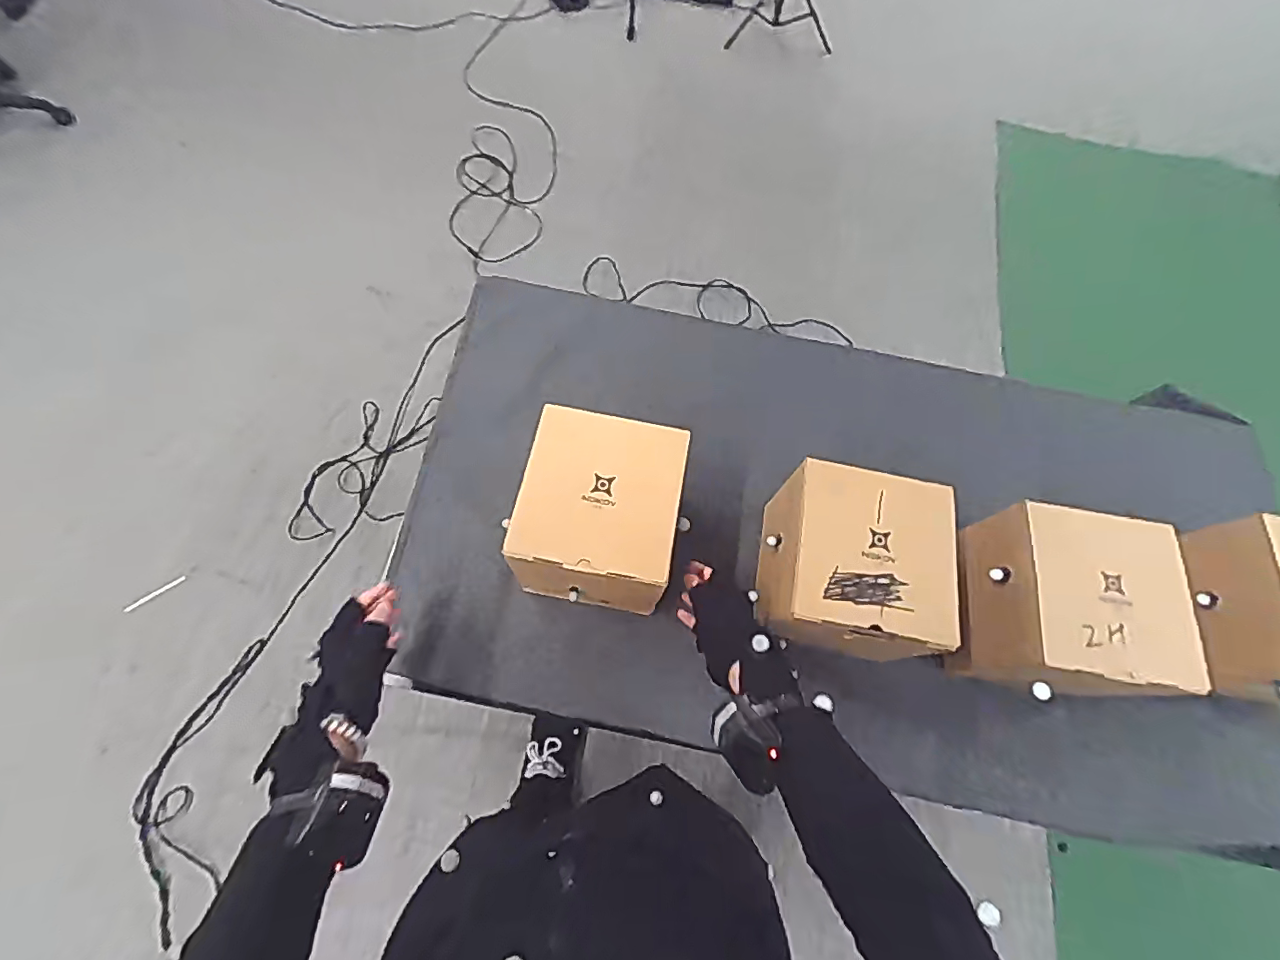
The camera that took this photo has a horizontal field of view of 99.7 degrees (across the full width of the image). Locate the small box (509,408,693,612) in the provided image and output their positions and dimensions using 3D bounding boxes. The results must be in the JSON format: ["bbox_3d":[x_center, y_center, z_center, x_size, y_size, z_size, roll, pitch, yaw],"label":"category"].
[{"bbox_3d":[-0.043,0.044,0.633,0.168,0.176,0.179,11,68,-1],"label":"small box"}]

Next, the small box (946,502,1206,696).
[{"bbox_3d":[0.478,0.146,0.631,0.168,0.176,0.179,10,68,0],"label":"small box"}]

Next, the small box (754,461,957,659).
[{"bbox_3d":[0.239,0.103,0.631,0.168,0.176,0.179,12,67,0],"label":"small box"}]
